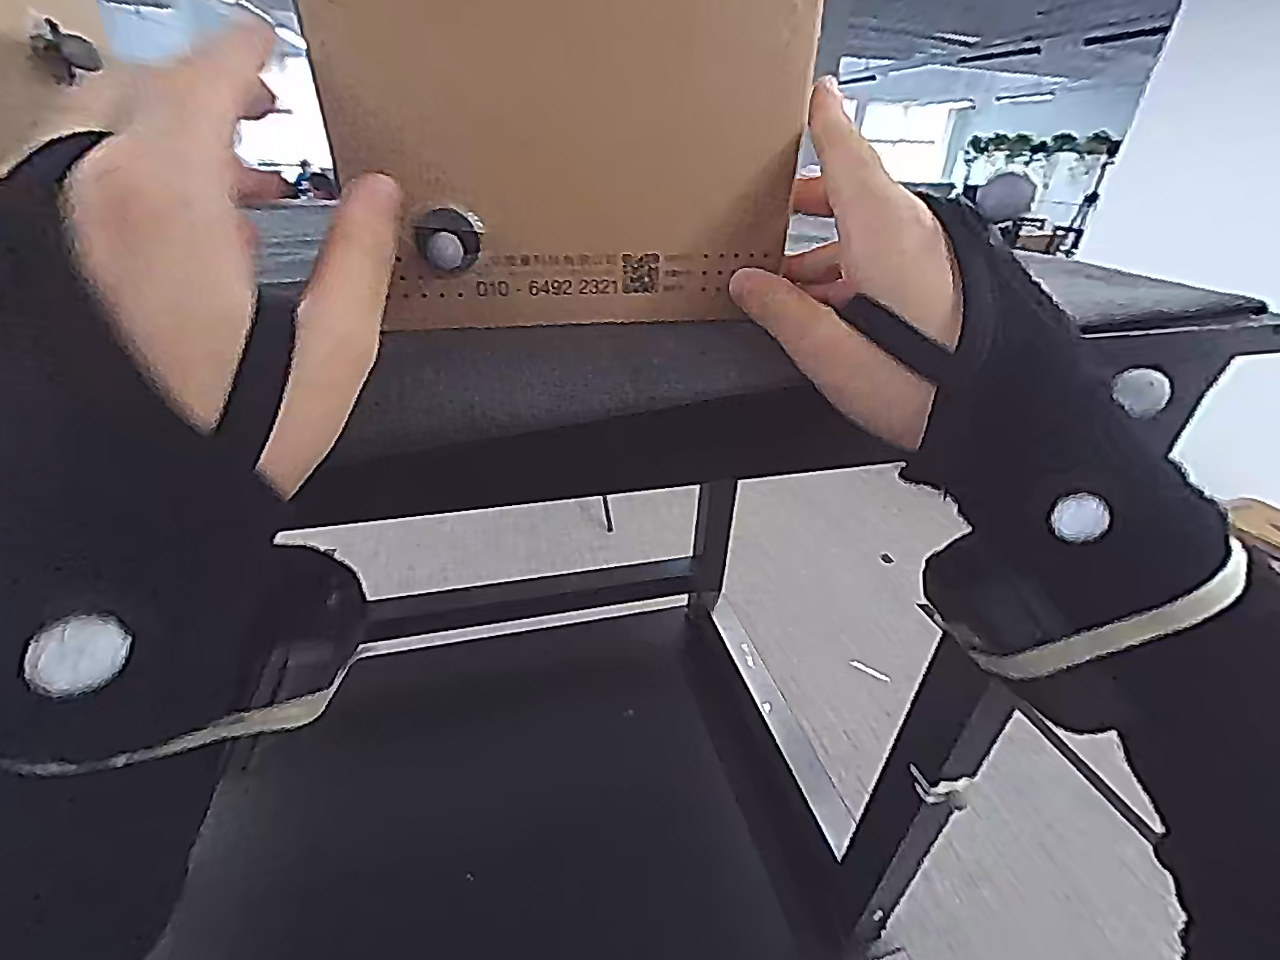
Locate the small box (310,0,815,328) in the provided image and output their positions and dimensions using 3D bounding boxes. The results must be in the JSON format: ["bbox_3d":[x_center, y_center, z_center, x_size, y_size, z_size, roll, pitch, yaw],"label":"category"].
[{"bbox_3d":[-0.033,-0.170,0.245,0.168,0.176,0.179,-5,30,-12],"label":"small box"}]
